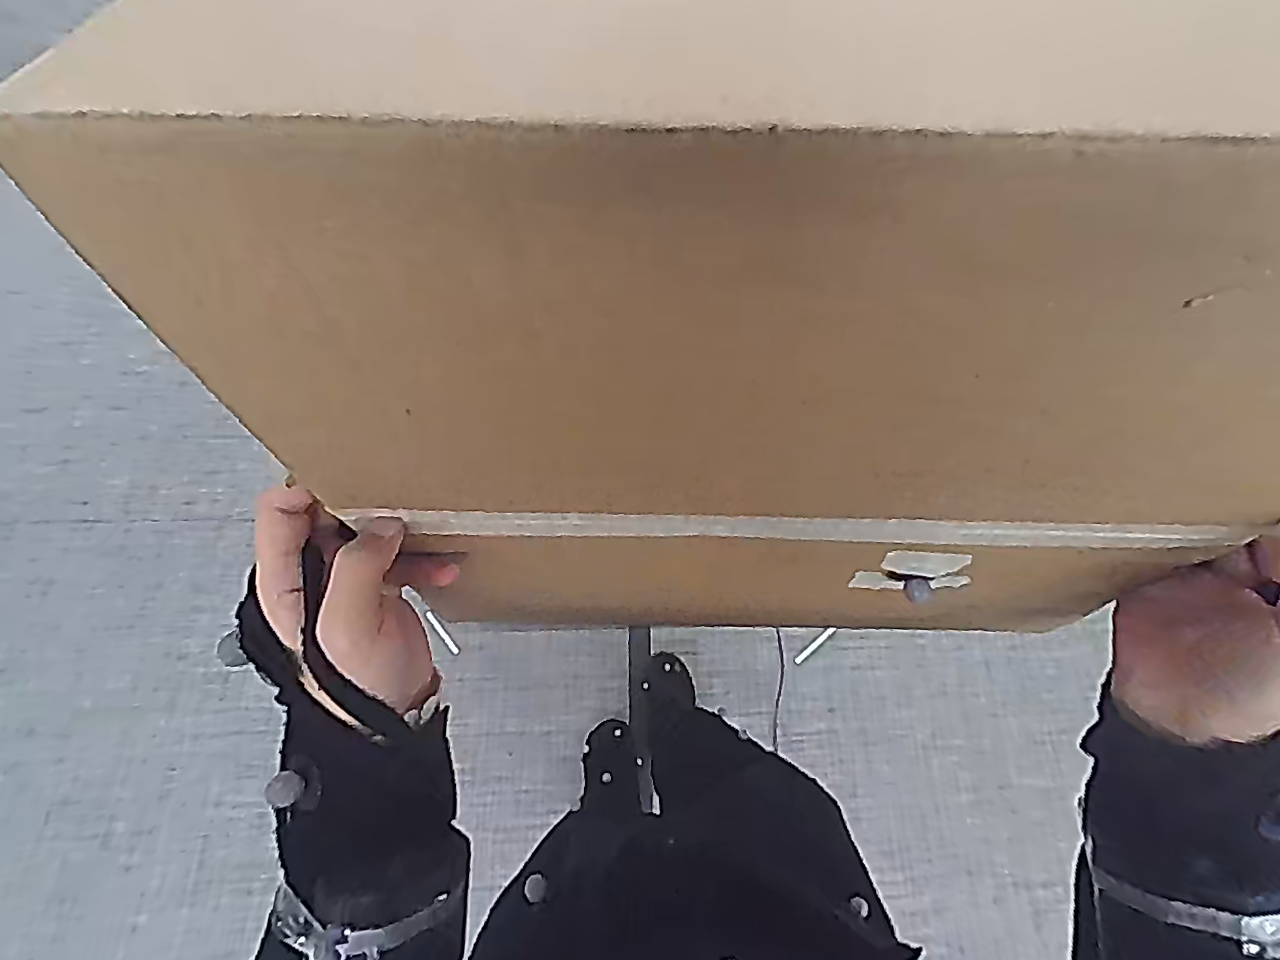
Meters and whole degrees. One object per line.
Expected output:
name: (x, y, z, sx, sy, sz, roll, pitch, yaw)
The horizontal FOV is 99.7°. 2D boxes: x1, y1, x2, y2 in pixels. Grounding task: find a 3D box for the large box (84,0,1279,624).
large box: (0.067, -0.110, 0.324, 0.408, 0.320, 0.320, 0, 59, 0)
